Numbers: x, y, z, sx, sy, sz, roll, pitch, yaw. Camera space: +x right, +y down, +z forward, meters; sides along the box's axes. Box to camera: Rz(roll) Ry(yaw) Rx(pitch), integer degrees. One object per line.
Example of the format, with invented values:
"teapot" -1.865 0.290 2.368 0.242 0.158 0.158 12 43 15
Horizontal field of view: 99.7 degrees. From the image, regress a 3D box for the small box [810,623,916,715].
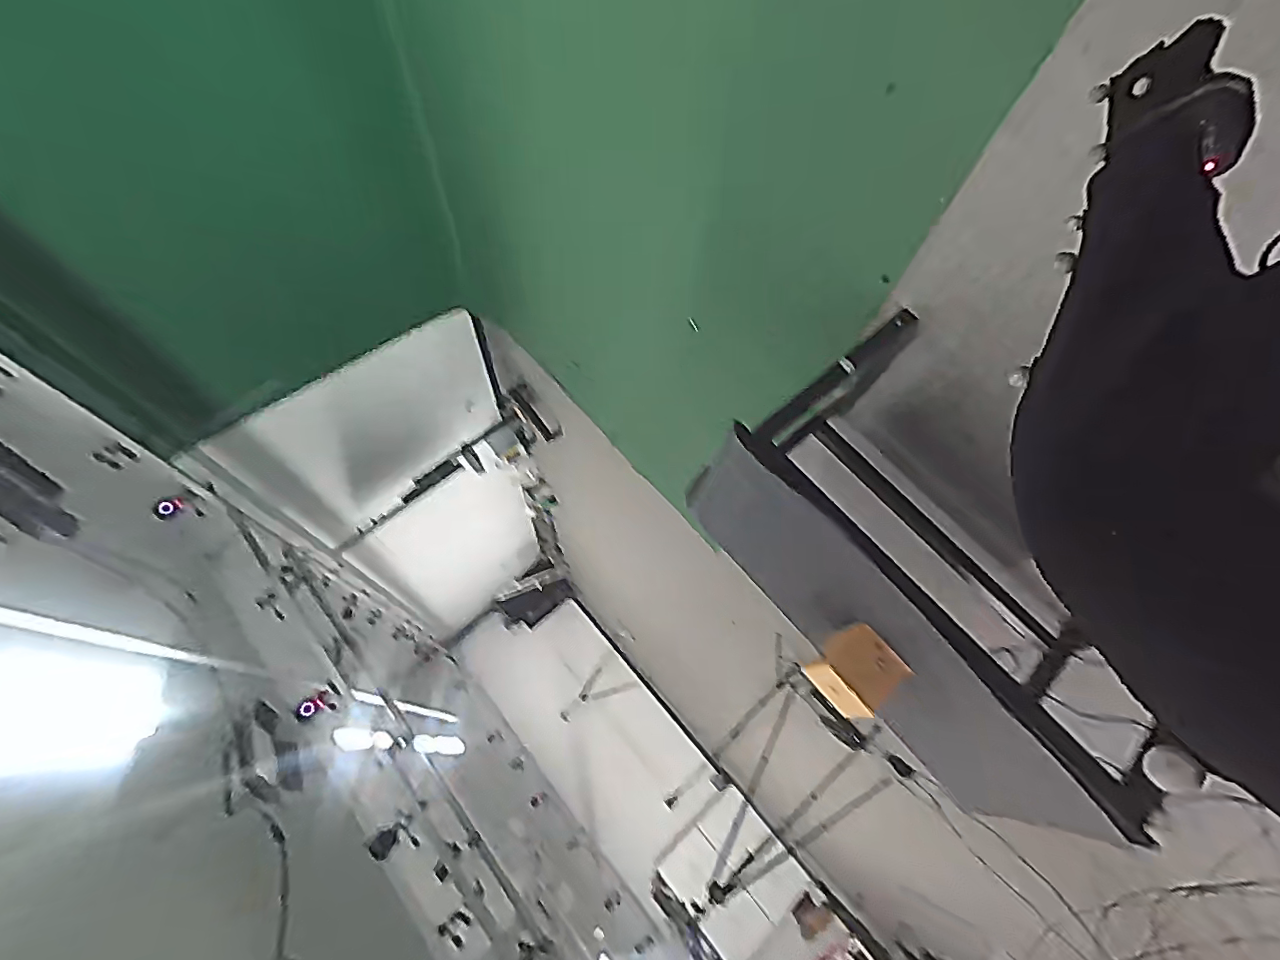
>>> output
"small box" 0.604 0.512 1.464 0.168 0.176 0.179 48 159 14
